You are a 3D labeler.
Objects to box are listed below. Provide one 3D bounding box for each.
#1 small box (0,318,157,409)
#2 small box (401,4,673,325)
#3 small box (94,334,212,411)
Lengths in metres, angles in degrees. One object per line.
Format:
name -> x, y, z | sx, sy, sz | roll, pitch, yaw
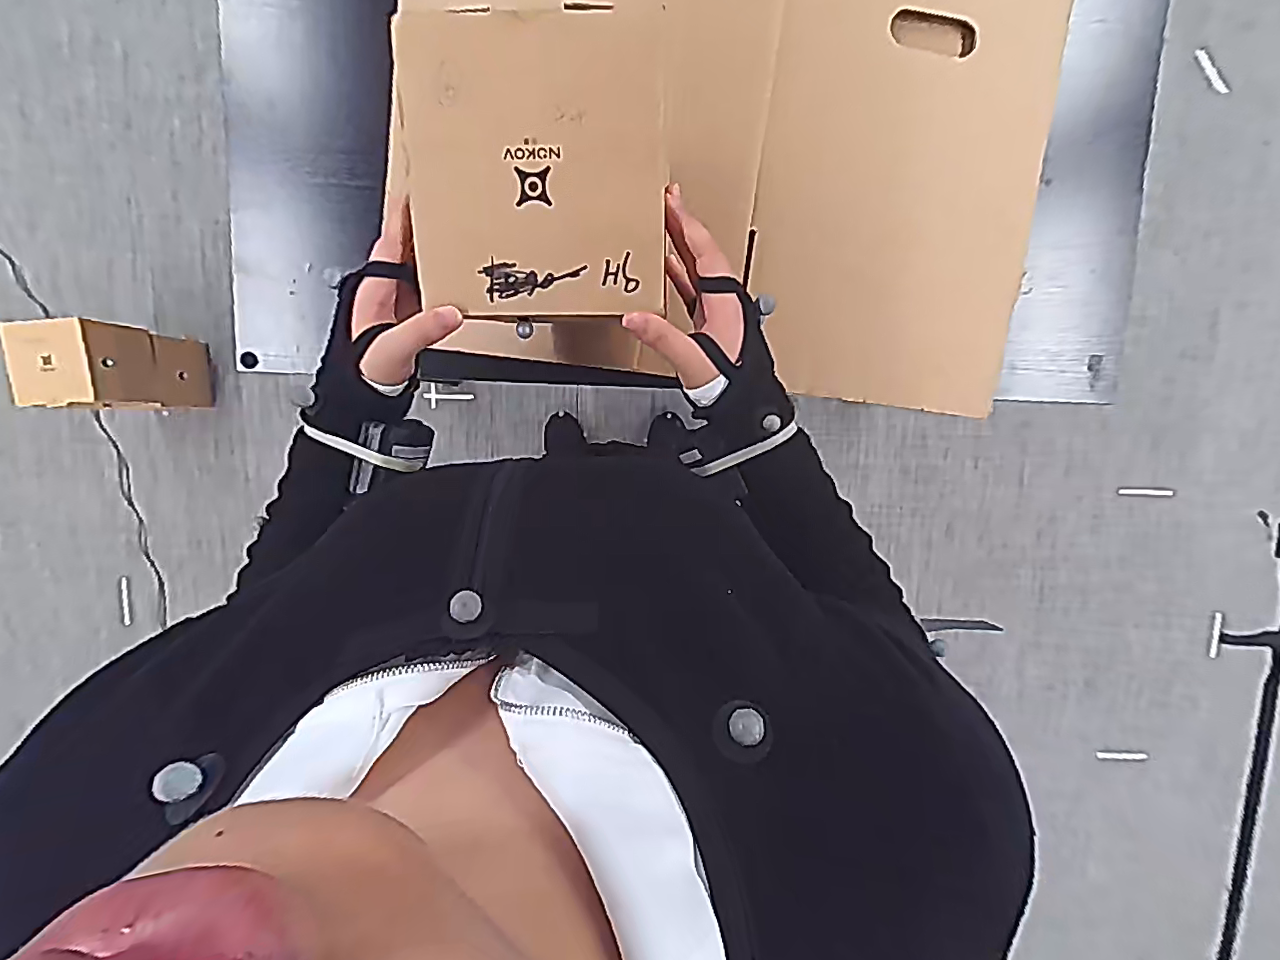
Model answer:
small box -> -1.223, -0.250, 1.194 | 0.168, 0.176, 0.179 | -5, 96, -1
small box -> -0.059, -0.214, 0.417 | 0.168, 0.176, 0.179 | 1, 104, 4
small box -> -1.224, -0.264, 1.356 | 0.168, 0.176, 0.179 | -2, 98, -1
